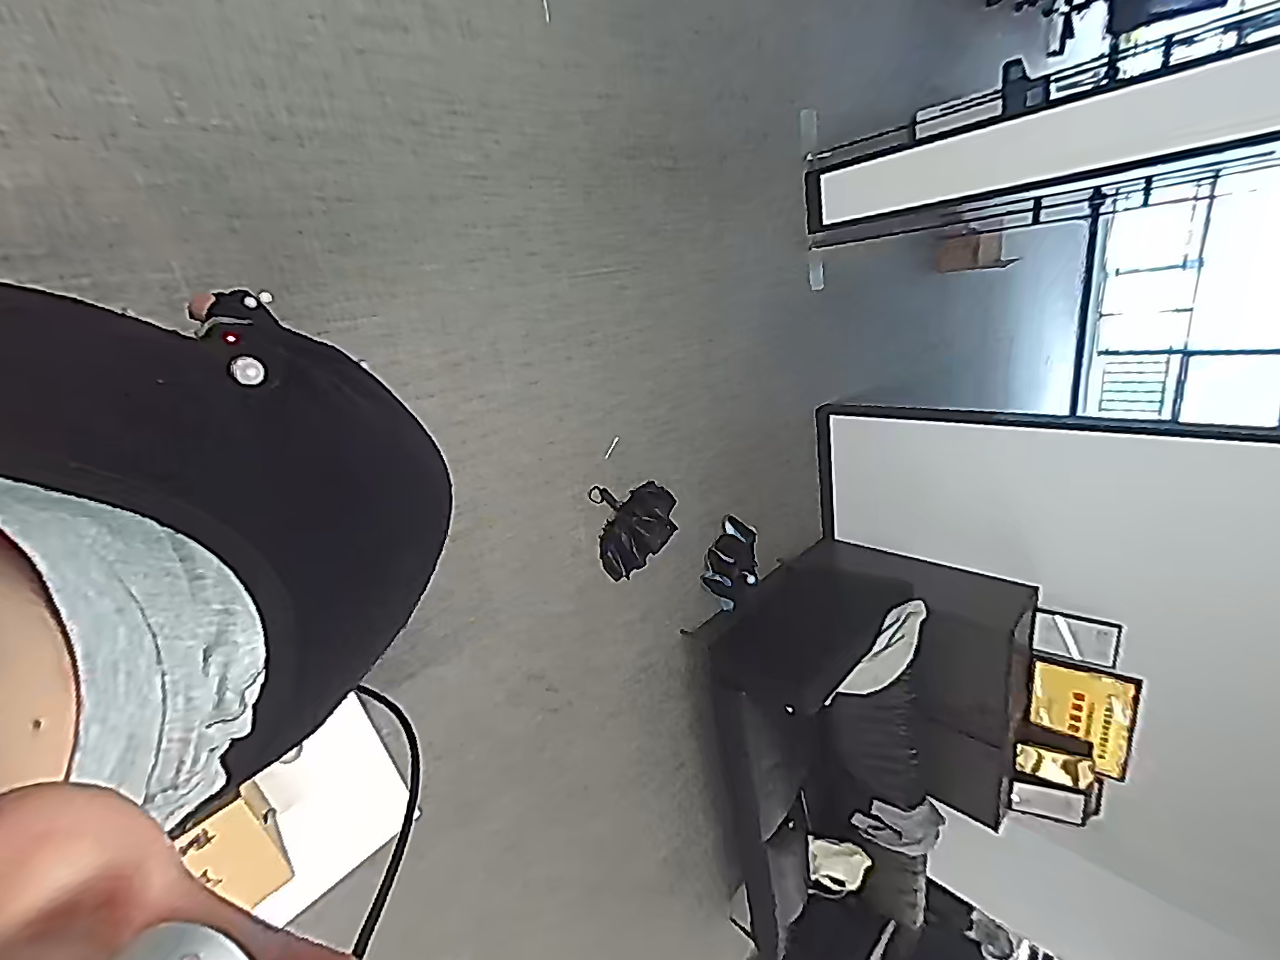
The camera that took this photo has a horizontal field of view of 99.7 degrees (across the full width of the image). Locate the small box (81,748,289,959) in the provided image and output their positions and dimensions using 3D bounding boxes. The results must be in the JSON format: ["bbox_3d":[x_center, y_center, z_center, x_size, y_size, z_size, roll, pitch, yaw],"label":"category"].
[{"bbox_3d":[-0.639,0.529,0.771,0.168,0.176,0.179,-30,120,-37],"label":"small box"}]
